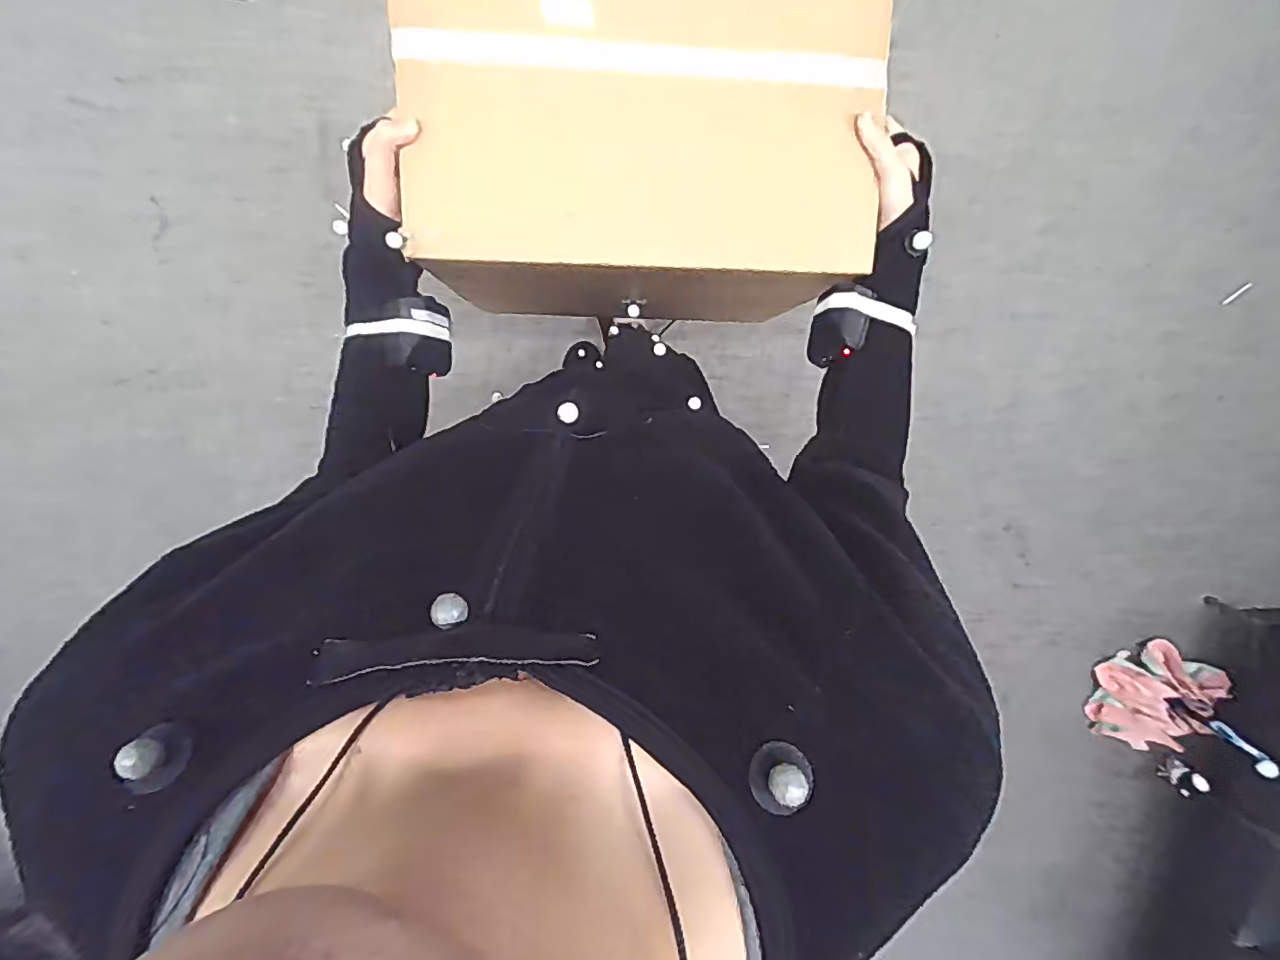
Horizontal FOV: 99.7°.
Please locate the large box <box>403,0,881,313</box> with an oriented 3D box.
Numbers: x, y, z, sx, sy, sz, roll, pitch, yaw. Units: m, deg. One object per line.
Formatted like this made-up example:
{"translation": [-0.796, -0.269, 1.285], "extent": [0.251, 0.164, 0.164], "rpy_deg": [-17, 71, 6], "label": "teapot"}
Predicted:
{"translation": [-0.002, -0.364, 0.601], "extent": [0.408, 0.320, 0.320], "rpy_deg": [0, 98, -4], "label": "large box"}
